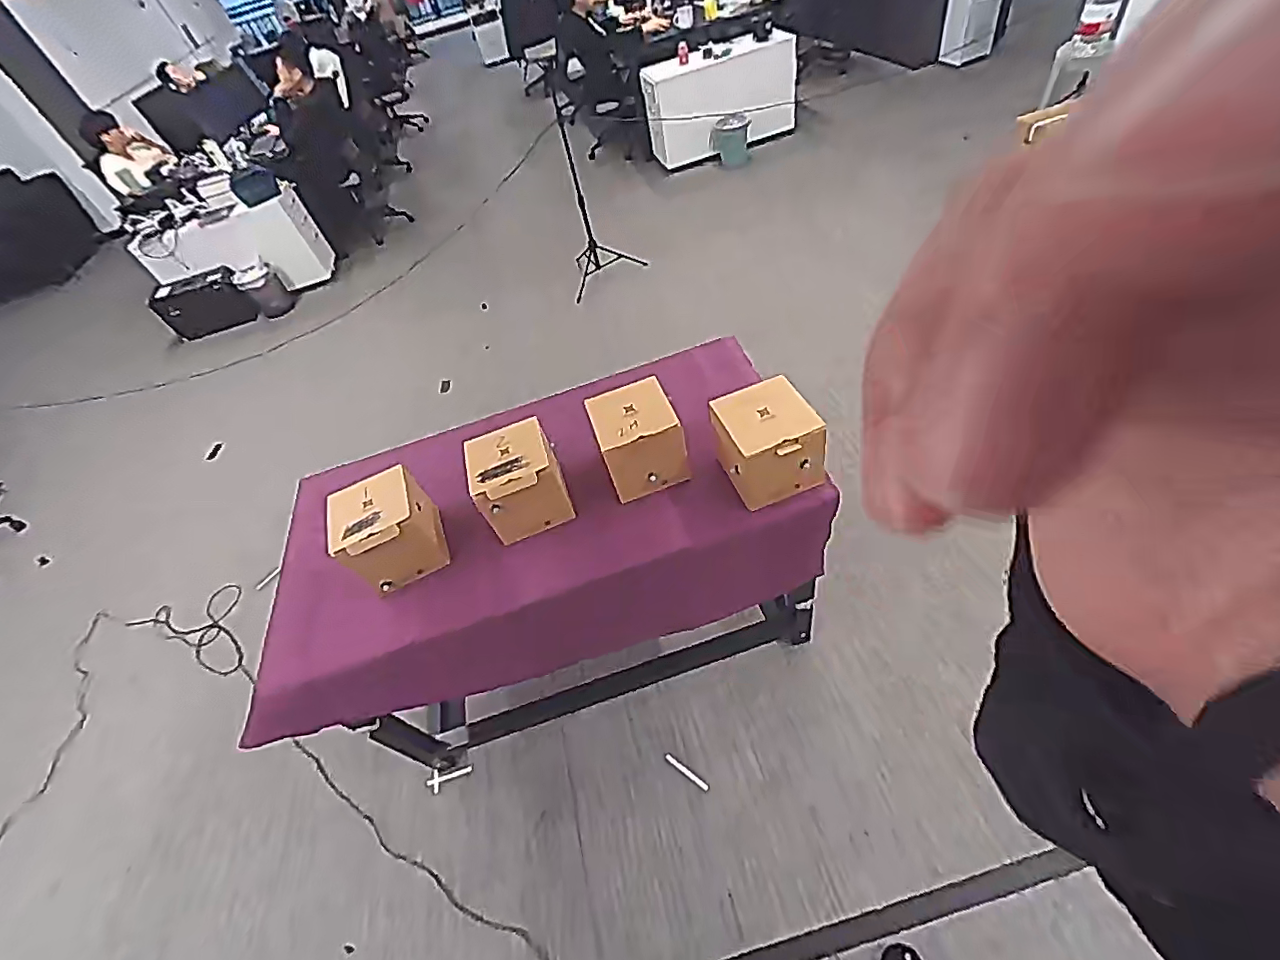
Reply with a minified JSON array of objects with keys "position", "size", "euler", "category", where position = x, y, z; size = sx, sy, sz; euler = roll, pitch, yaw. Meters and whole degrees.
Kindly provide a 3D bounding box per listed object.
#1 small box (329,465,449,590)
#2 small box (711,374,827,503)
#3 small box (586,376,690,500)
[{"position":[-0.524,0.108,1.138],"size":[0.168,0.176,0.179],"euler":[-26,48,-8],"category":"small box"},{"position":[0.257,-0.076,1.086],"size":[0.168,0.176,0.179],"euler":[-21,47,-3],"category":"small box"},{"position":[-0.003,-0.089,1.166],"size":[0.168,0.176,0.179],"euler":[-20,49,-2],"category":"small box"}]
